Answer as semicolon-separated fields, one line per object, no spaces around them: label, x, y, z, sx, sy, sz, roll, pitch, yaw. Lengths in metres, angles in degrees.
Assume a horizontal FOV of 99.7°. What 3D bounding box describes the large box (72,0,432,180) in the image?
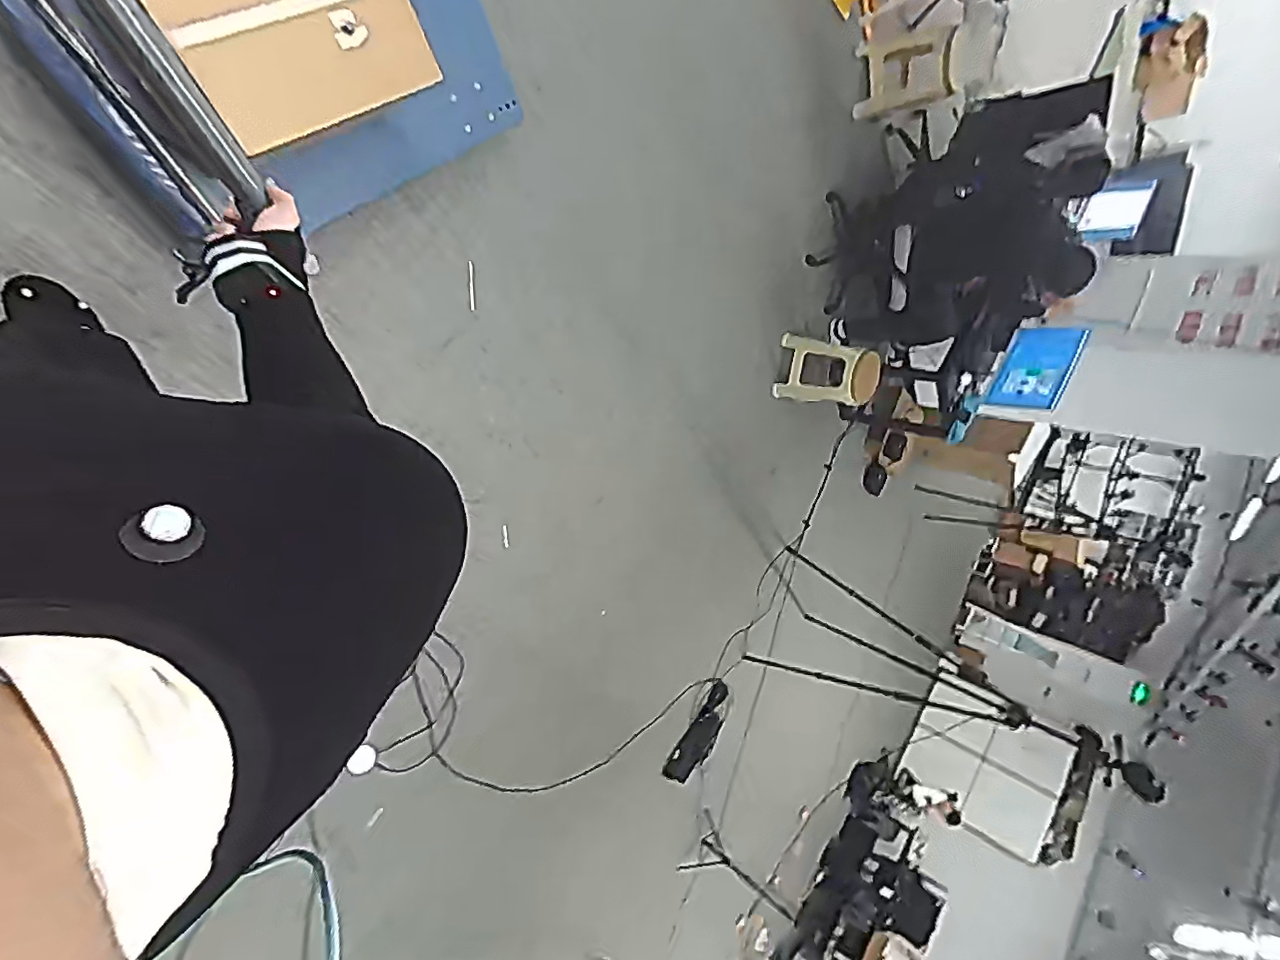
large box;-0.682;-0.801;0.978;0.408;0.320;0.320;-46;133;-27
